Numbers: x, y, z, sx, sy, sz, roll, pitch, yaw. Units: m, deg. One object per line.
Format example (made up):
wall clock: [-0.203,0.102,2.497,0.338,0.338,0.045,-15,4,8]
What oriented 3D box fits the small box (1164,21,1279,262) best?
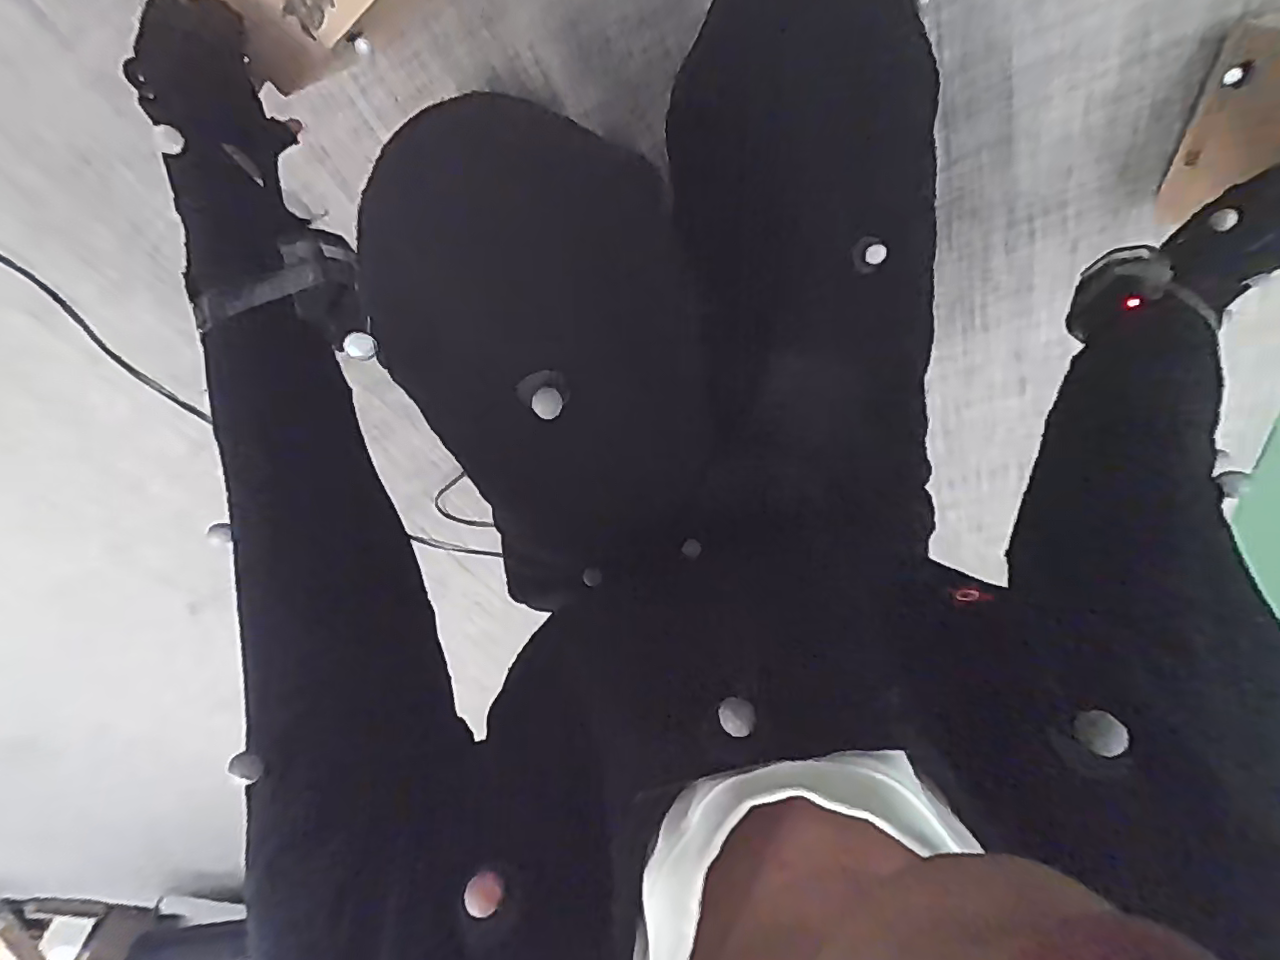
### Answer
small box: [0.632,-0.303,0.468,0.179,0.176,0.168,-13,134,4]
